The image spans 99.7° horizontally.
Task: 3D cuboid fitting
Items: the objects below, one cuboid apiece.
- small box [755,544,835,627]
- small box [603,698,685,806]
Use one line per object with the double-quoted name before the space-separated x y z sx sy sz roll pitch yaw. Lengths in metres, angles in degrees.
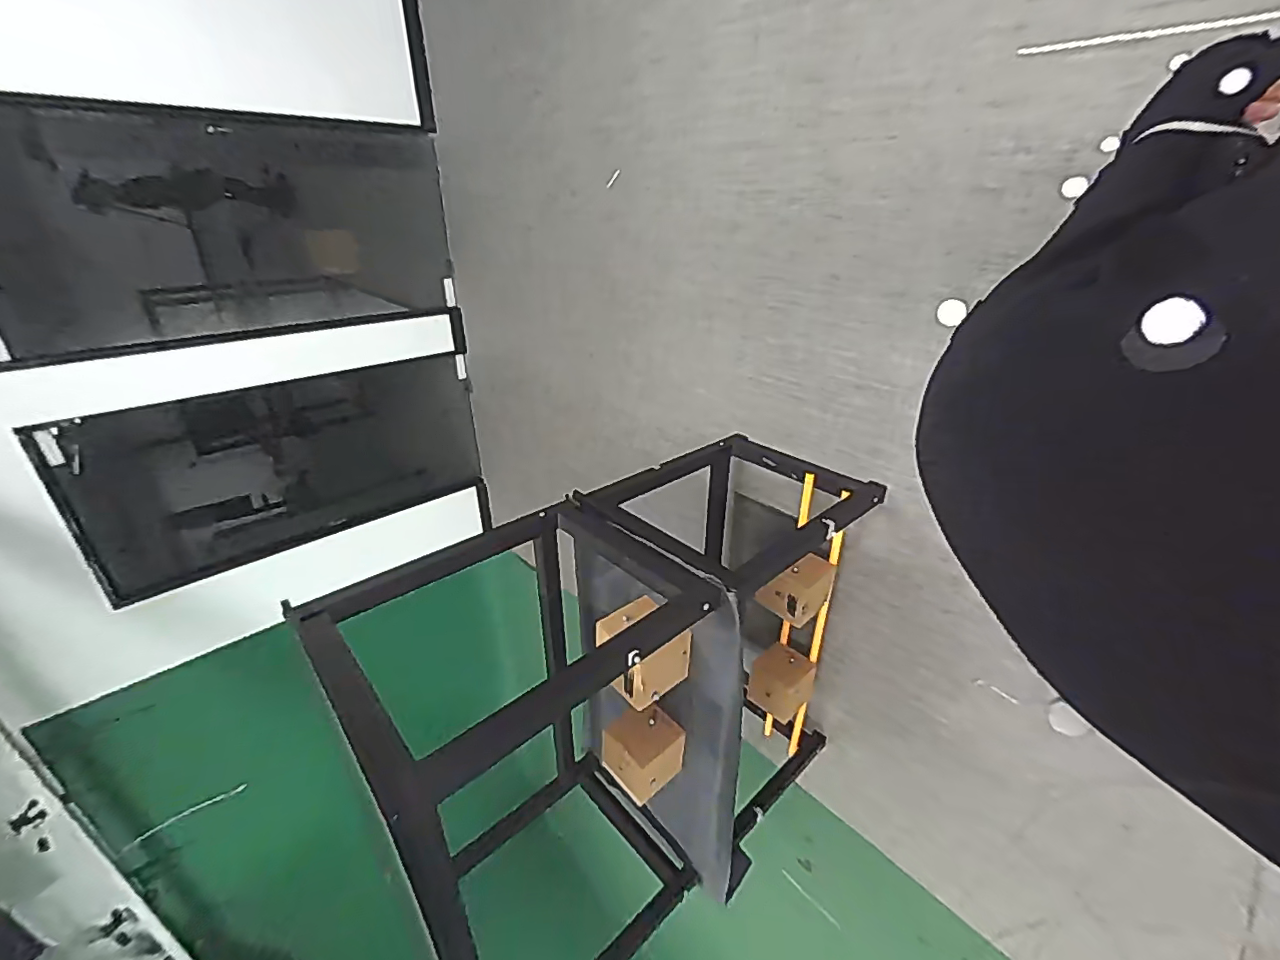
"small box" 0.502 0.332 1.745 0.179 0.176 0.168 30 129 39
"small box" 0.011 0.763 1.531 0.168 0.176 0.179 30 129 39
